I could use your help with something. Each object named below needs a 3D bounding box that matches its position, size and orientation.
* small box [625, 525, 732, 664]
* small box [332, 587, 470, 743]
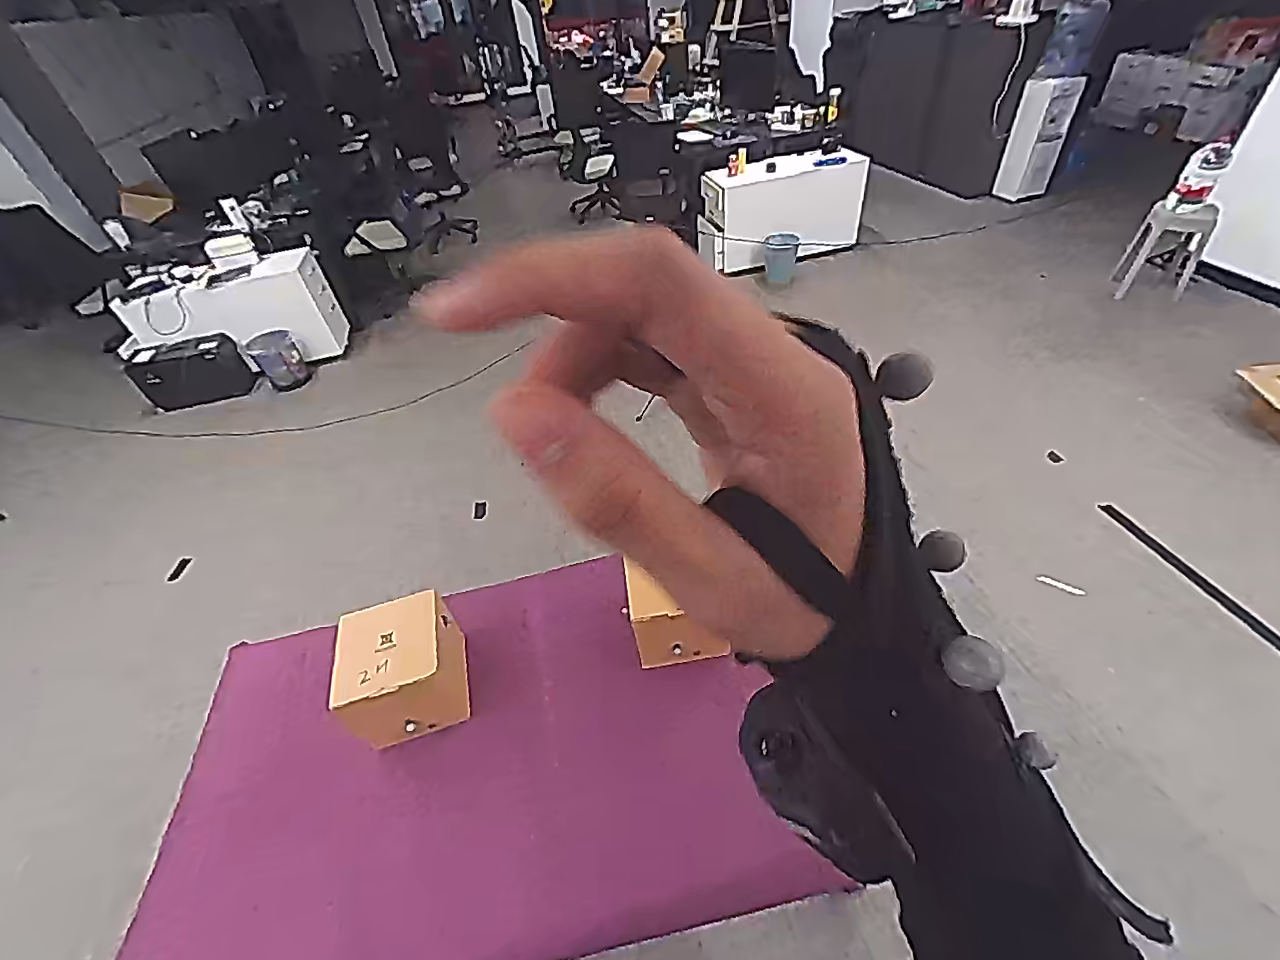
[{"bbox_3d":[0.067,0.211,0.995,0.168,0.176,0.179,-9,44,-1],"label":"small box"},{"bbox_3d":[-0.405,0.323,0.945,0.168,0.176,0.179,-16,44,-8],"label":"small box"}]
